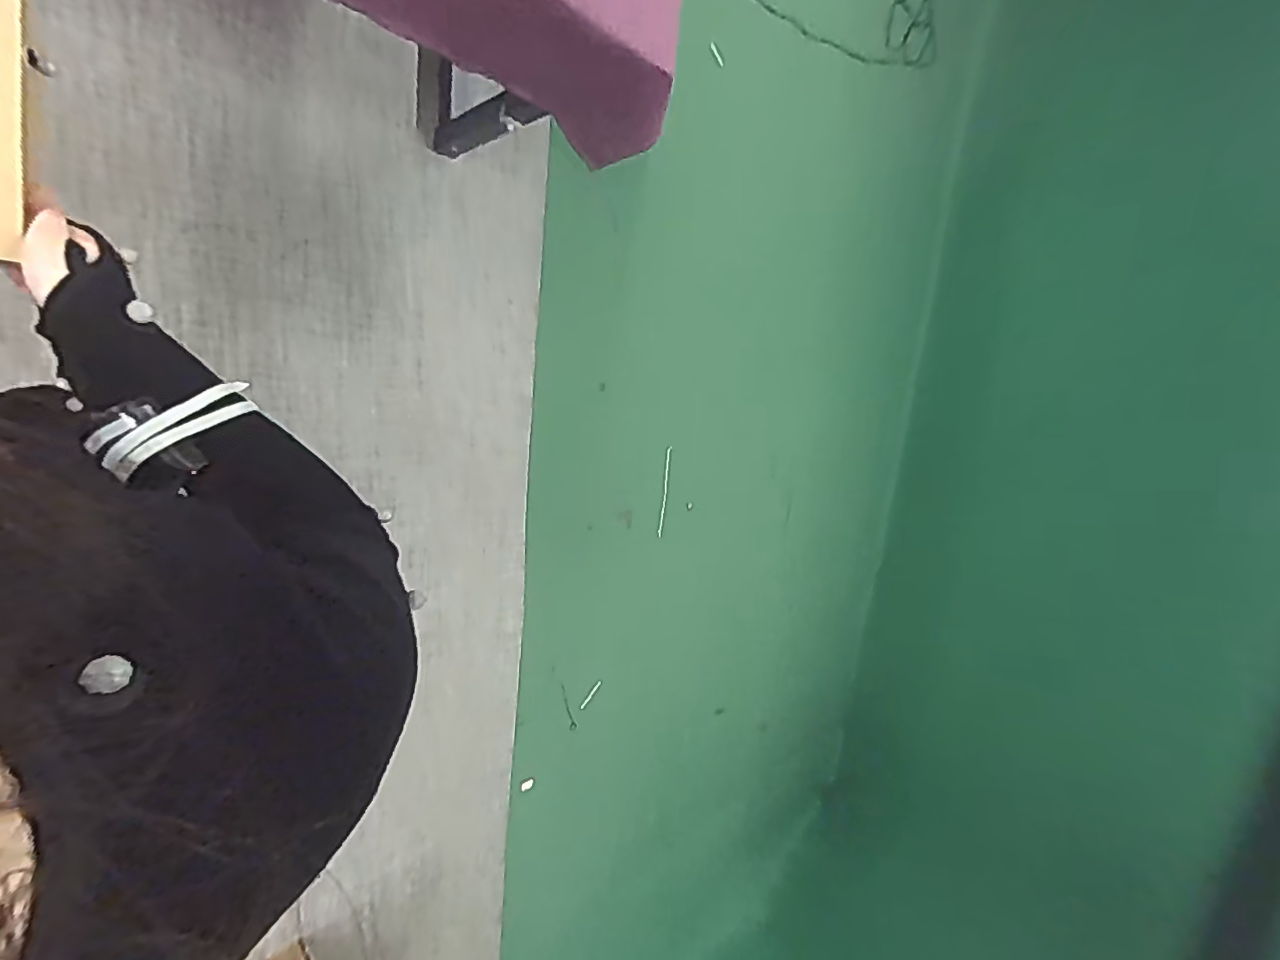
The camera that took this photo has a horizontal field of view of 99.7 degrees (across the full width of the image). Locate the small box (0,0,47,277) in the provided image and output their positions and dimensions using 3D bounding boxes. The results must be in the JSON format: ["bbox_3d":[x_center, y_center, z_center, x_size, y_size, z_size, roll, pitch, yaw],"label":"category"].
[{"bbox_3d":[-0.522,-0.245,0.358,0.168,0.176,0.179,1,101,-45],"label":"small box"}]
